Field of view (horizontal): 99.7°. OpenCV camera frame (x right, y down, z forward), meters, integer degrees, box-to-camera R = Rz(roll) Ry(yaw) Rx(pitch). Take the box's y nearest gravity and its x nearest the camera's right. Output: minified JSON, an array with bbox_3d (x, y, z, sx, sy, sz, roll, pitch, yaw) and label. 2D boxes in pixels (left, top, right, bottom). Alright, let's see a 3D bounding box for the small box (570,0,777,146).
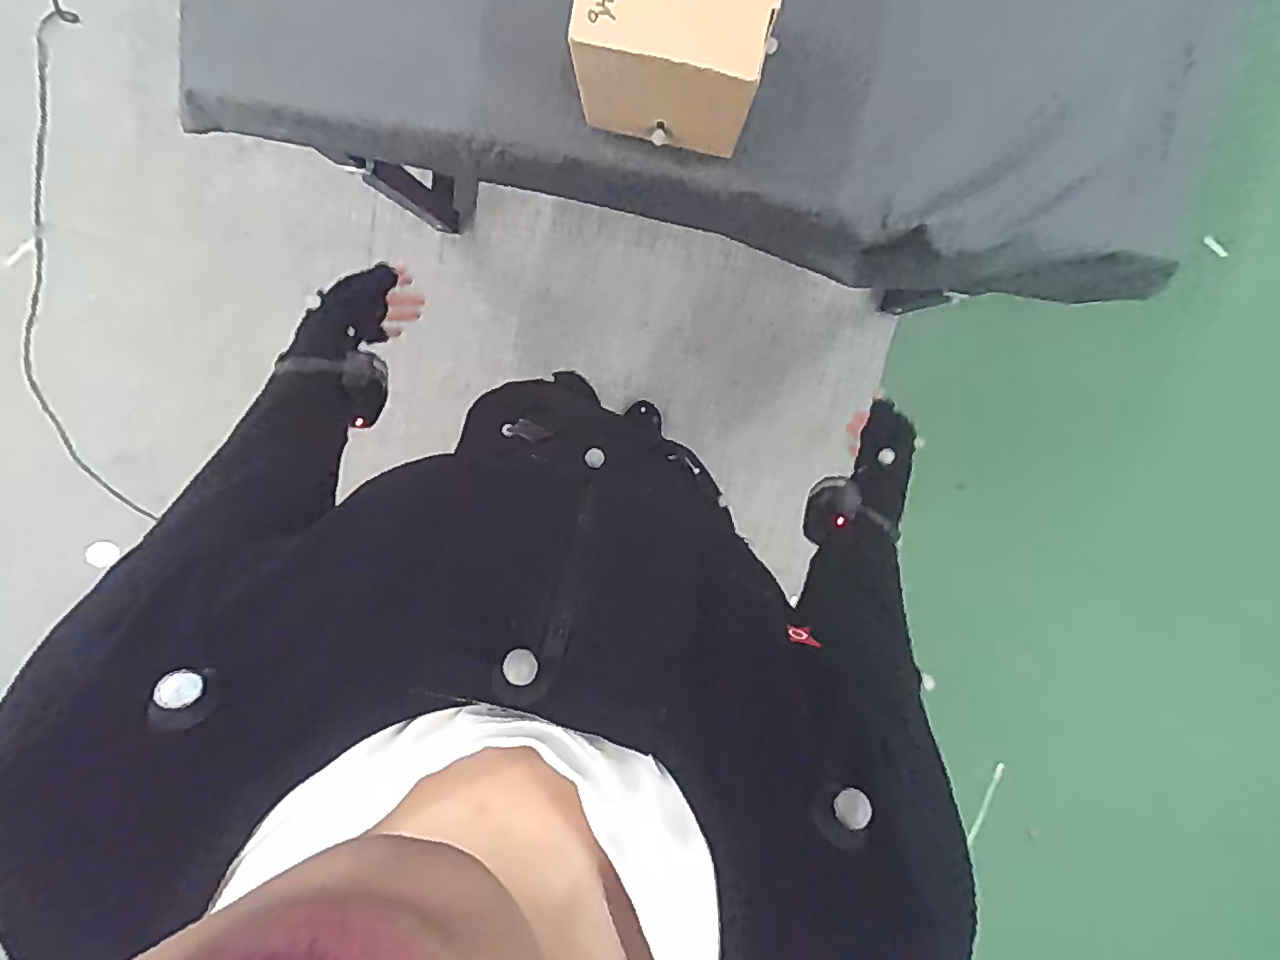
[{"bbox_3d":[0.039,-0.468,0.545,0.179,0.176,0.168,12,100,-2],"label":"small box"}]
